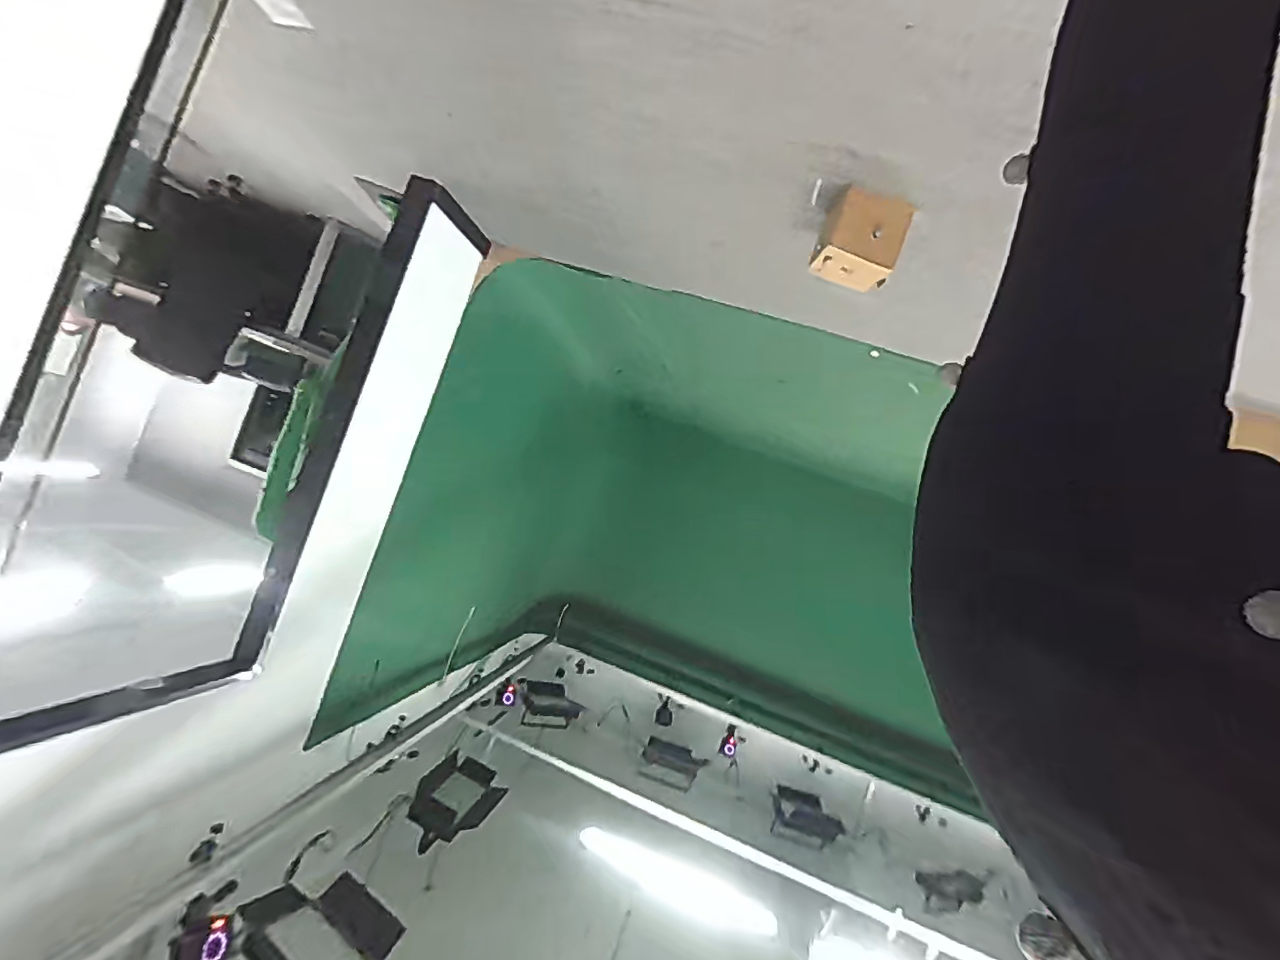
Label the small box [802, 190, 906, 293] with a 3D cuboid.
[{"bbox_3d":[0.554,-0.617,1.403,0.179,0.176,0.168,19,178,-3],"label":"small box"}]
